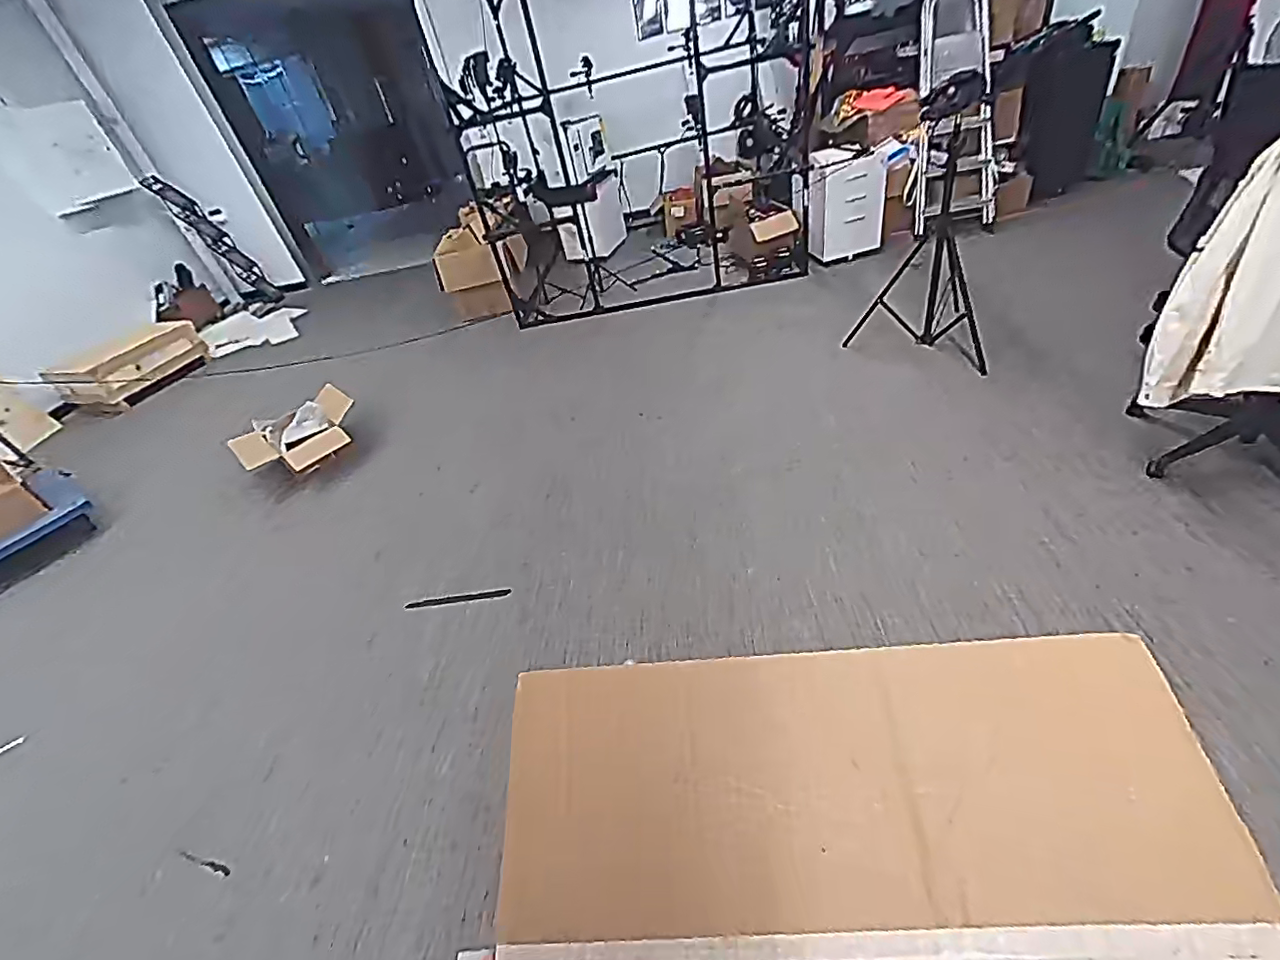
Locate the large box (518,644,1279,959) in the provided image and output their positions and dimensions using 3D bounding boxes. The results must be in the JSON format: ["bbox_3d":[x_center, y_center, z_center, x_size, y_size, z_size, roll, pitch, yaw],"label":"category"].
[{"bbox_3d":[0.144,0.334,0.411,0.408,0.320,0.320,-5,58,6],"label":"large box"}]
